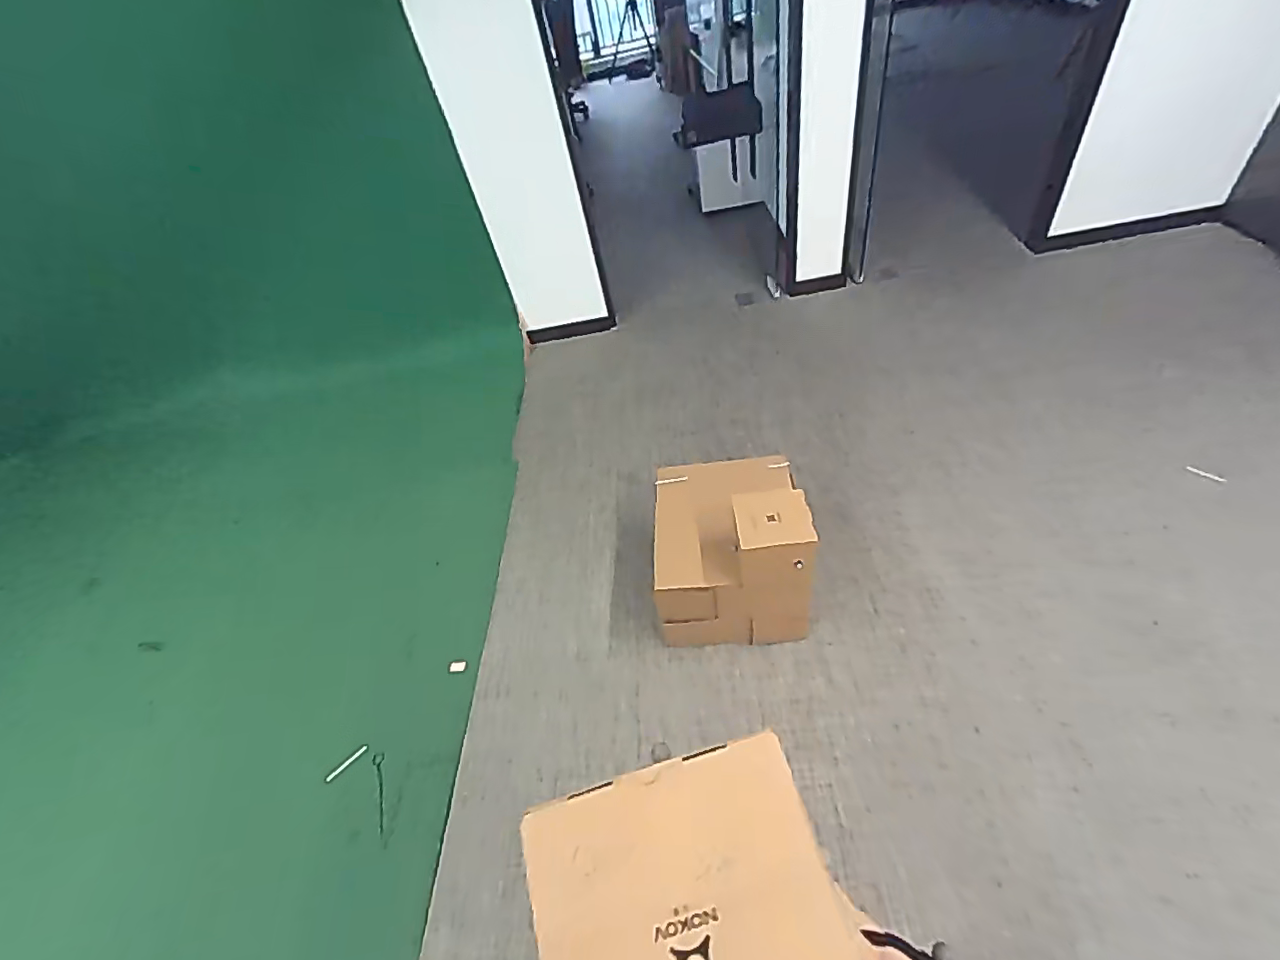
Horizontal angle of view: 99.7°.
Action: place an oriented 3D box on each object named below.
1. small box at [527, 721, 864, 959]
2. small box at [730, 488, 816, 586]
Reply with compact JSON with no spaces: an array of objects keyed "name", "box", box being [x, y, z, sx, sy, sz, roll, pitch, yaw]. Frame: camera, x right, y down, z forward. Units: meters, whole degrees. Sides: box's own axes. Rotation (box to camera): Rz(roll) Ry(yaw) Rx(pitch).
[{"name":"small box","box":[0.040,0.283,0.361,0.168,0.176,0.179,-19,61,-1]},{"name":"small box","box":[0.320,0.143,1.328,0.179,0.176,0.168,-8,44,6]}]
